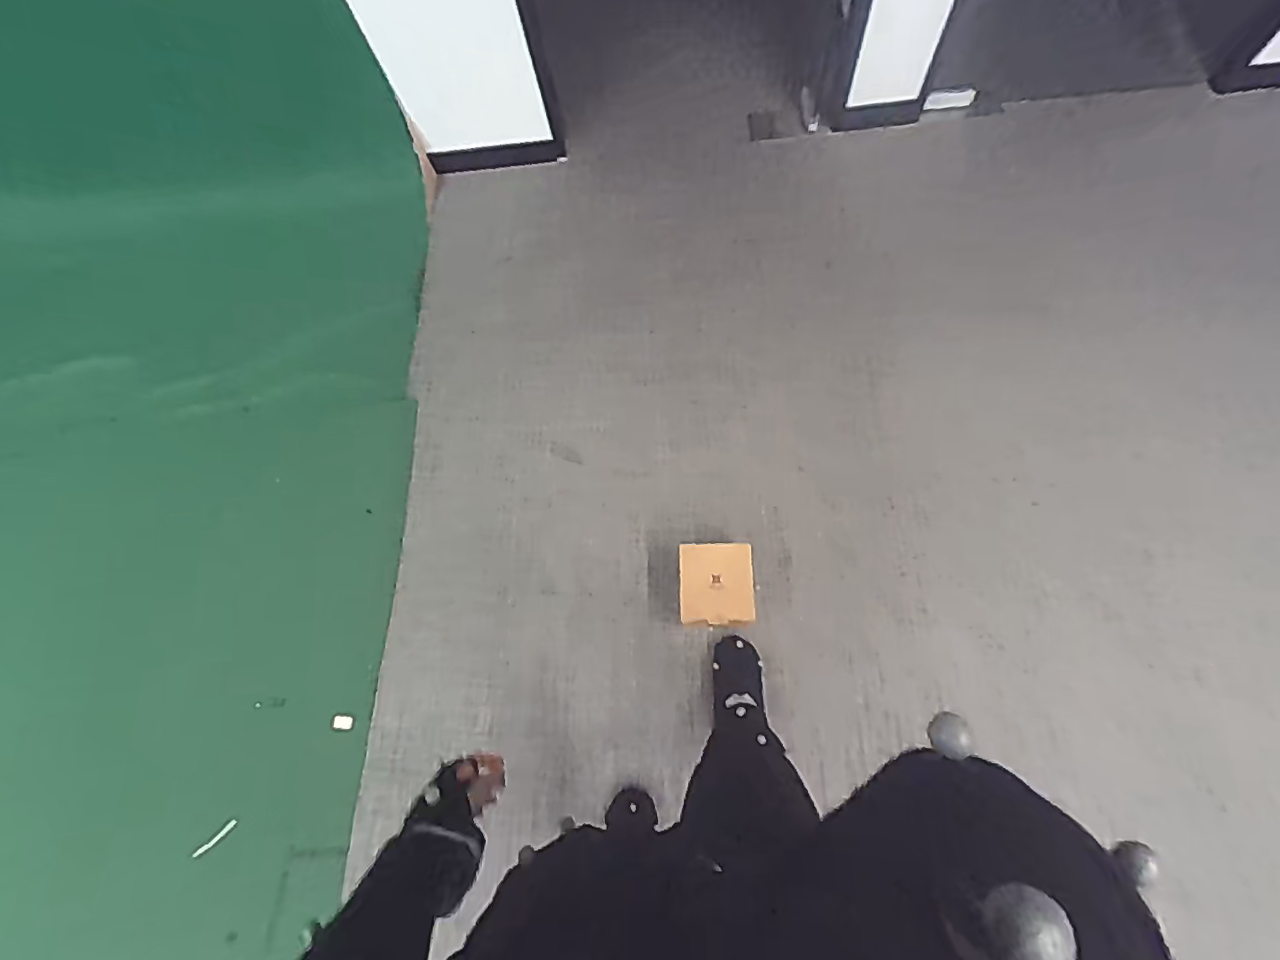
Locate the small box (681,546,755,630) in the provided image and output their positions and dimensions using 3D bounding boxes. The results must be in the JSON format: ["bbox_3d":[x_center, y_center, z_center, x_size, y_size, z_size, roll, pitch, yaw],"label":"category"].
[{"bbox_3d":[0.182,0.263,1.299,0.168,0.176,0.179,-1,70,5],"label":"small box"}]
